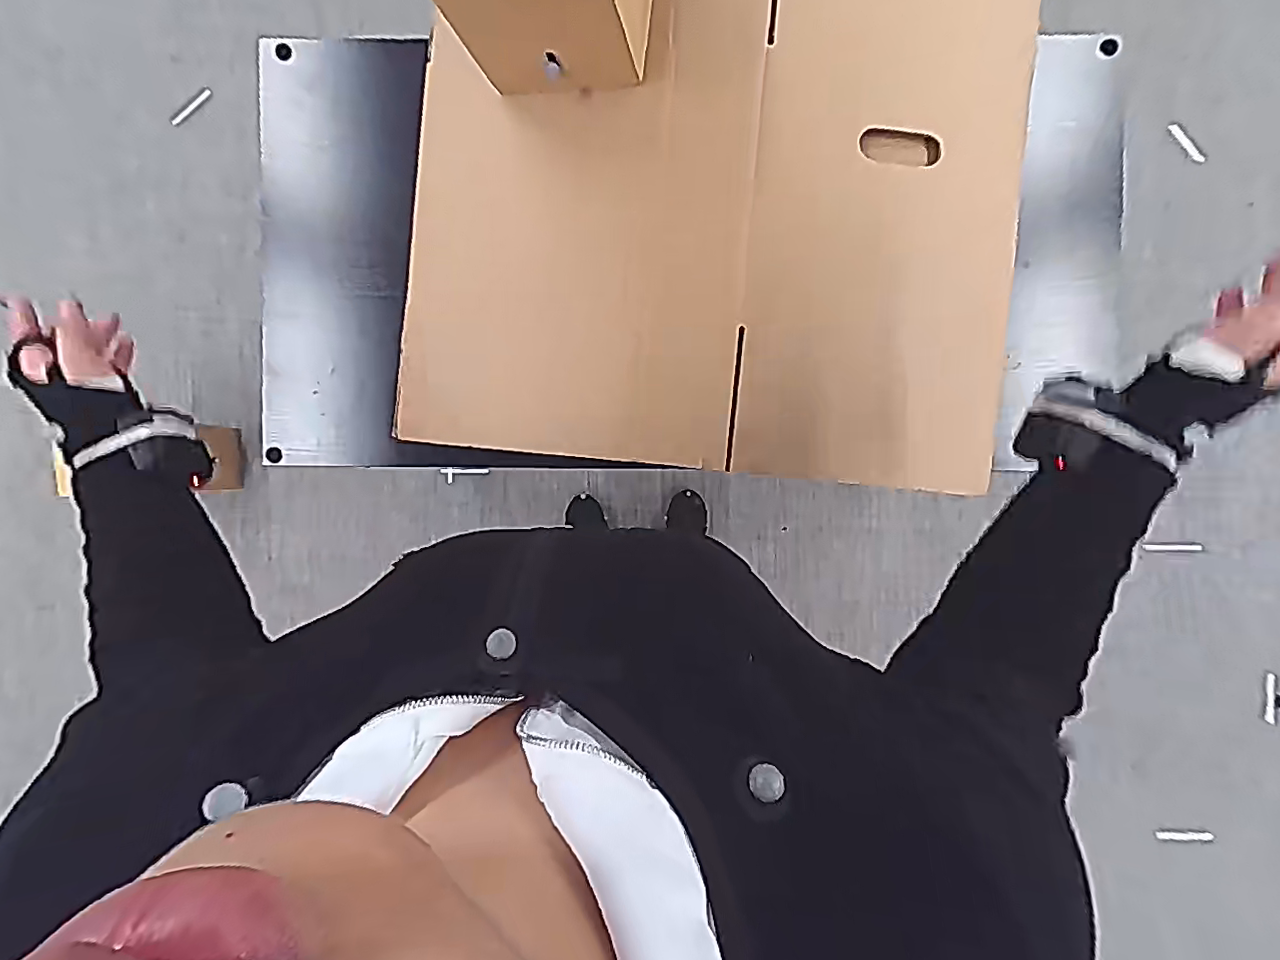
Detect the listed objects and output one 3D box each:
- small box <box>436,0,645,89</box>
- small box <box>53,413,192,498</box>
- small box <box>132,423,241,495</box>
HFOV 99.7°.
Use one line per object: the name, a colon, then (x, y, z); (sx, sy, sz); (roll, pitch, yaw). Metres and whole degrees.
small box: (-0.090, -0.518, 0.524); (0.179, 0.176, 0.168); (7, 91, 13)
small box: (-1.203, -0.056, 1.270); (0.168, 0.176, 0.179); (-6, 90, 0)
small box: (-1.200, -0.052, 1.433); (0.168, 0.176, 0.179); (-4, 92, 1)
